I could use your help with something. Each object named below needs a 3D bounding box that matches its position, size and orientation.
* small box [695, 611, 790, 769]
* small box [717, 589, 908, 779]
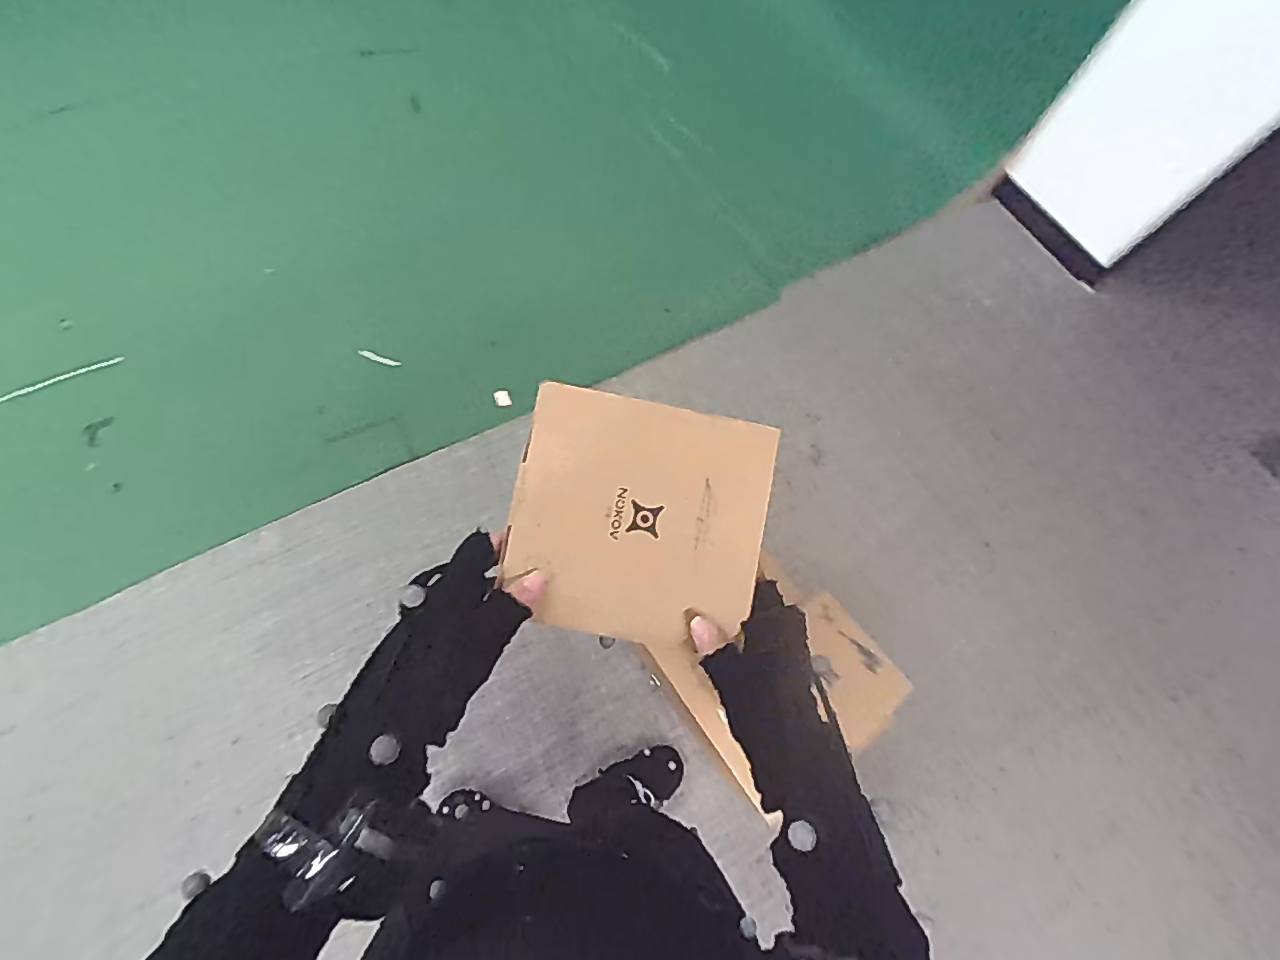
[{"bbox_3d":[0.215,0.345,0.914,0.168,0.176,0.179,-38,77,-15],"label":"small box"},{"bbox_3d":[0.226,0.282,0.764,0.179,0.176,0.168,-36,75,-14],"label":"small box"}]
